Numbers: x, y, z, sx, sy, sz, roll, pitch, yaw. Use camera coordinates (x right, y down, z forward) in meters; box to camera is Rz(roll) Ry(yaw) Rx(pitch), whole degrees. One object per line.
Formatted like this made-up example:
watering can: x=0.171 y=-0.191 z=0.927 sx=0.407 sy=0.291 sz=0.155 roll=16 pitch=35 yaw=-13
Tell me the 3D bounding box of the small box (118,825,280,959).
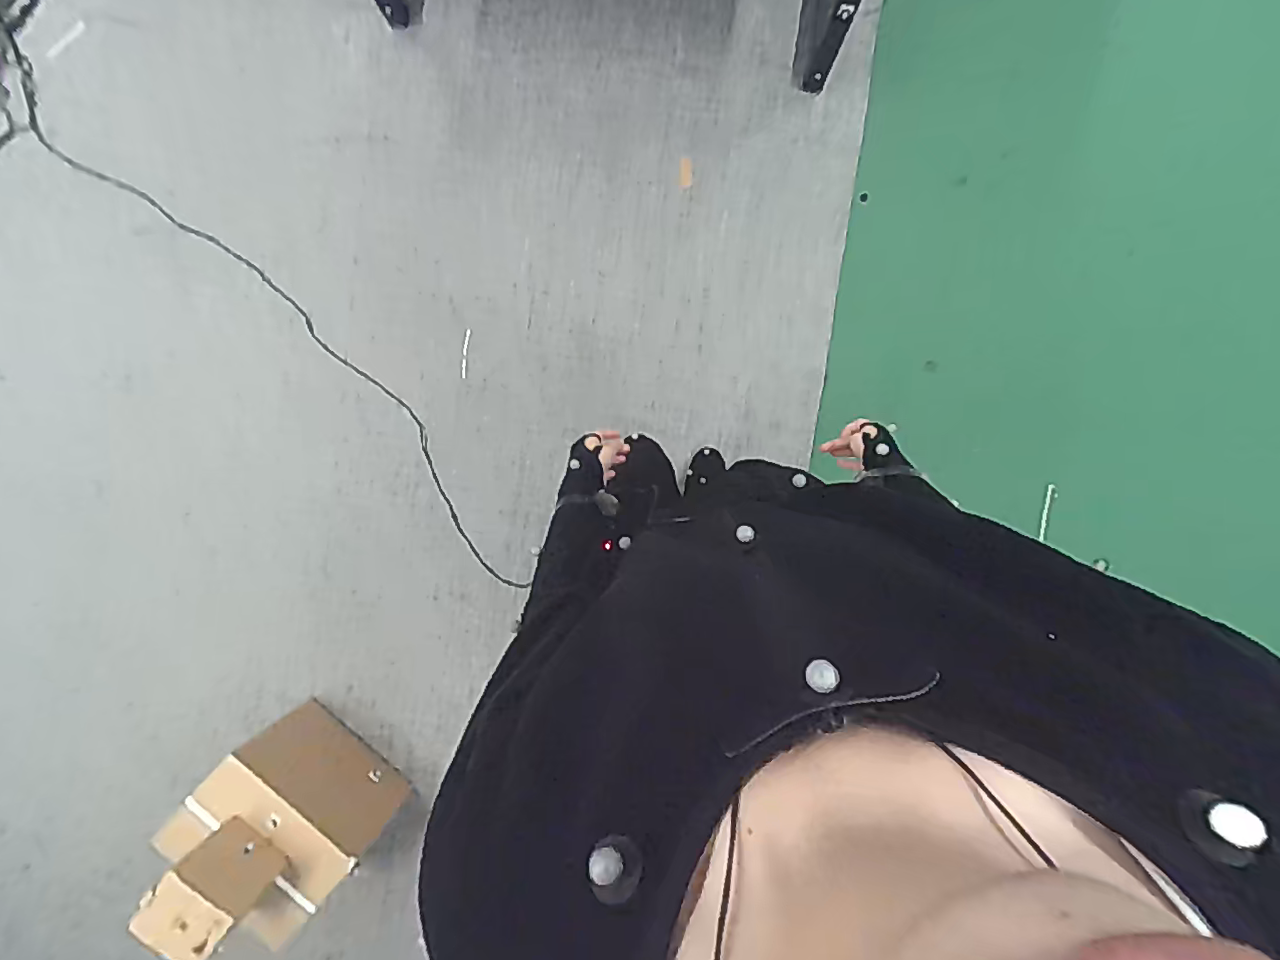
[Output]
small box: x=-0.948 y=0.902 z=1.178 sx=0.179 sy=0.176 sz=0.168 roll=38 pitch=95 yaw=0
